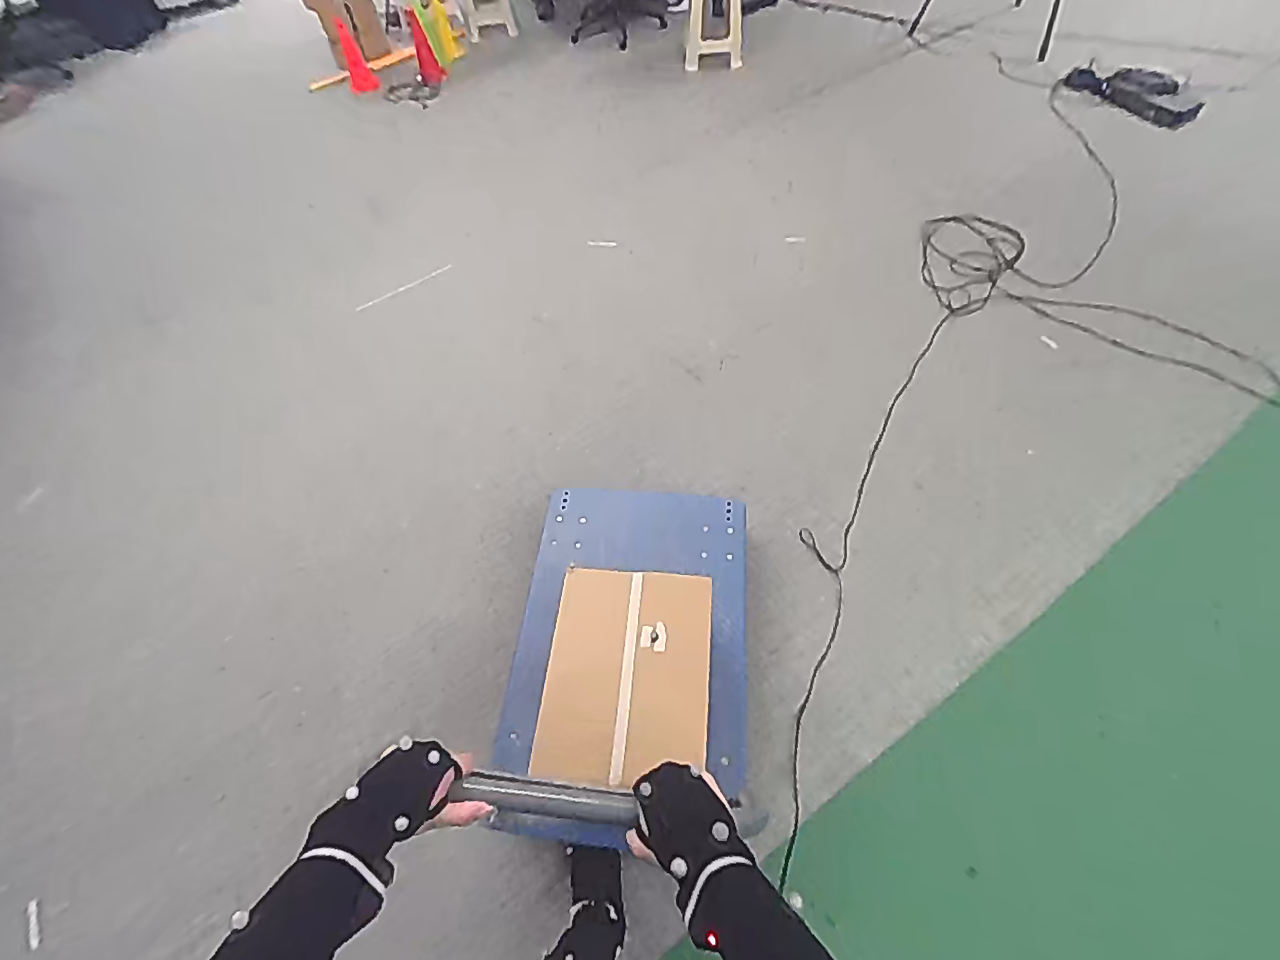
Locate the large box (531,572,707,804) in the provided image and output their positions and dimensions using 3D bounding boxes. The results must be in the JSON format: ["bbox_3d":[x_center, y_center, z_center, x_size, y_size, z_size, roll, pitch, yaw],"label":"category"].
[{"bbox_3d":[-0.018,0.457,1.183,0.320,0.320,0.408,4,57,6],"label":"large box"}]
